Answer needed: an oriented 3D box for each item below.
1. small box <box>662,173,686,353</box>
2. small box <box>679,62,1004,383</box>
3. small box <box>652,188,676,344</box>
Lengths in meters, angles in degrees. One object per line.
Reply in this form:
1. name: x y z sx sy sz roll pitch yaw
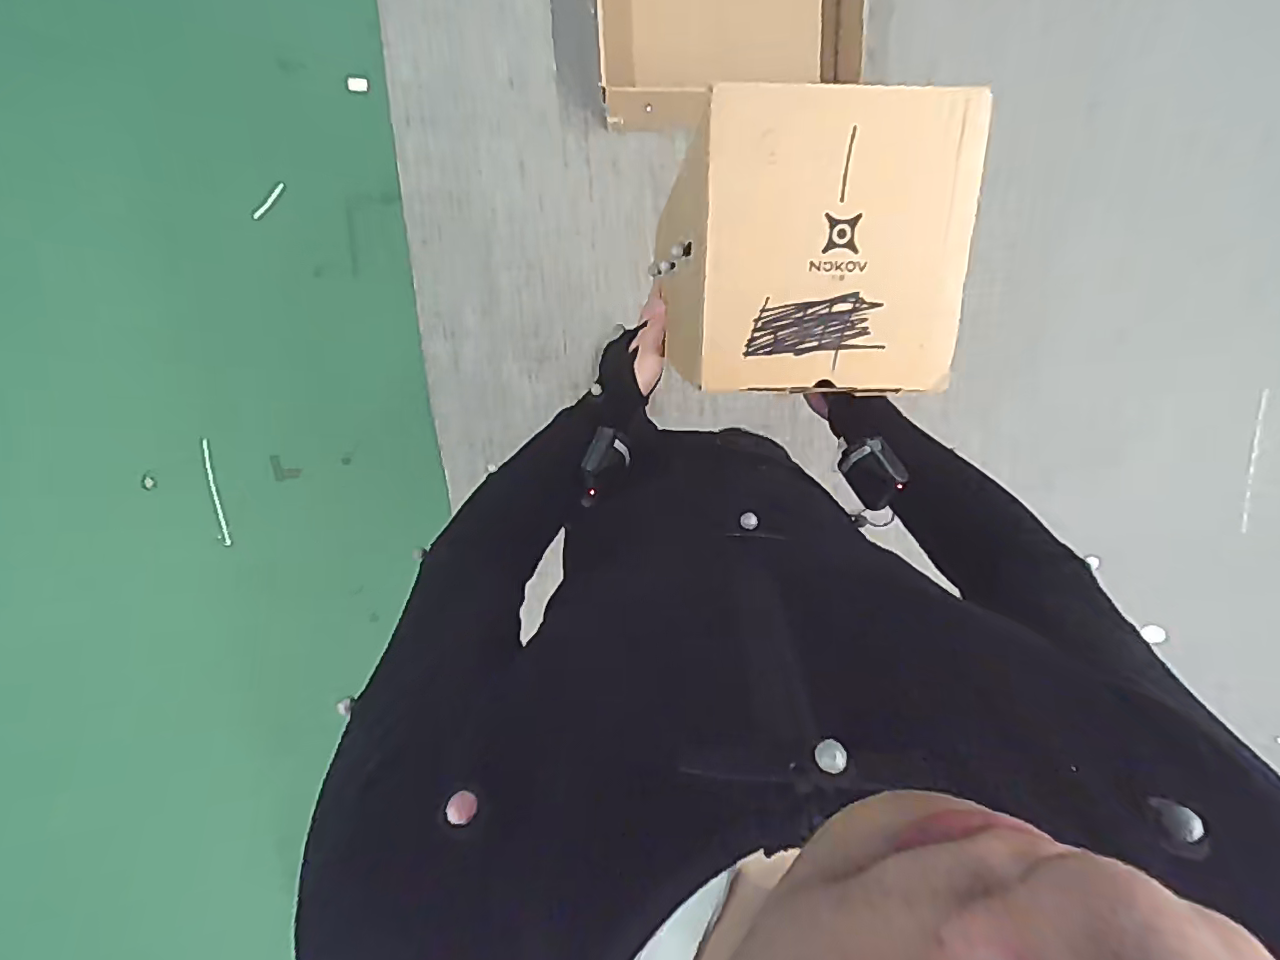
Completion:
1. small box: 0.114 -0.219 0.558 0.168 0.176 0.179 2 107 -3
2. small box: 0.121 -0.169 0.402 0.168 0.176 0.179 0 105 -2
3. small box: 0.106 -0.266 0.716 0.168 0.176 0.179 2 106 -3
